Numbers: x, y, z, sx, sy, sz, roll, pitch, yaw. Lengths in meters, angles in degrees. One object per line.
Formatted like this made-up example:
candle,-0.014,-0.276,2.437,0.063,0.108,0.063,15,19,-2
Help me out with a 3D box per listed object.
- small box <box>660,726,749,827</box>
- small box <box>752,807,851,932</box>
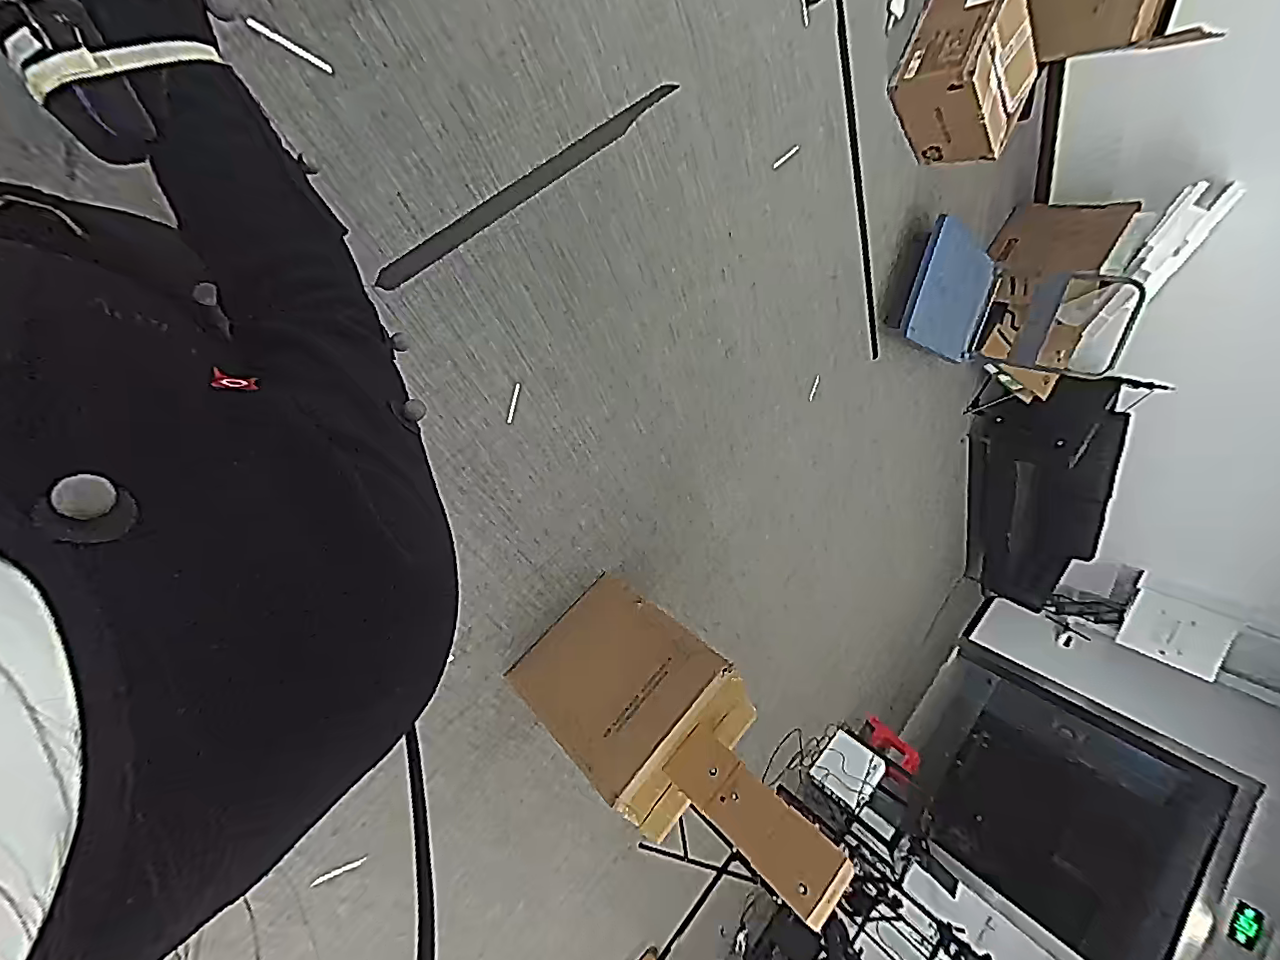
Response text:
small box,0.190,0.866,1.590,0.179,0.176,0.168,-44,133,-18
small box,0.402,0.979,1.365,0.179,0.176,0.168,-44,133,-19
